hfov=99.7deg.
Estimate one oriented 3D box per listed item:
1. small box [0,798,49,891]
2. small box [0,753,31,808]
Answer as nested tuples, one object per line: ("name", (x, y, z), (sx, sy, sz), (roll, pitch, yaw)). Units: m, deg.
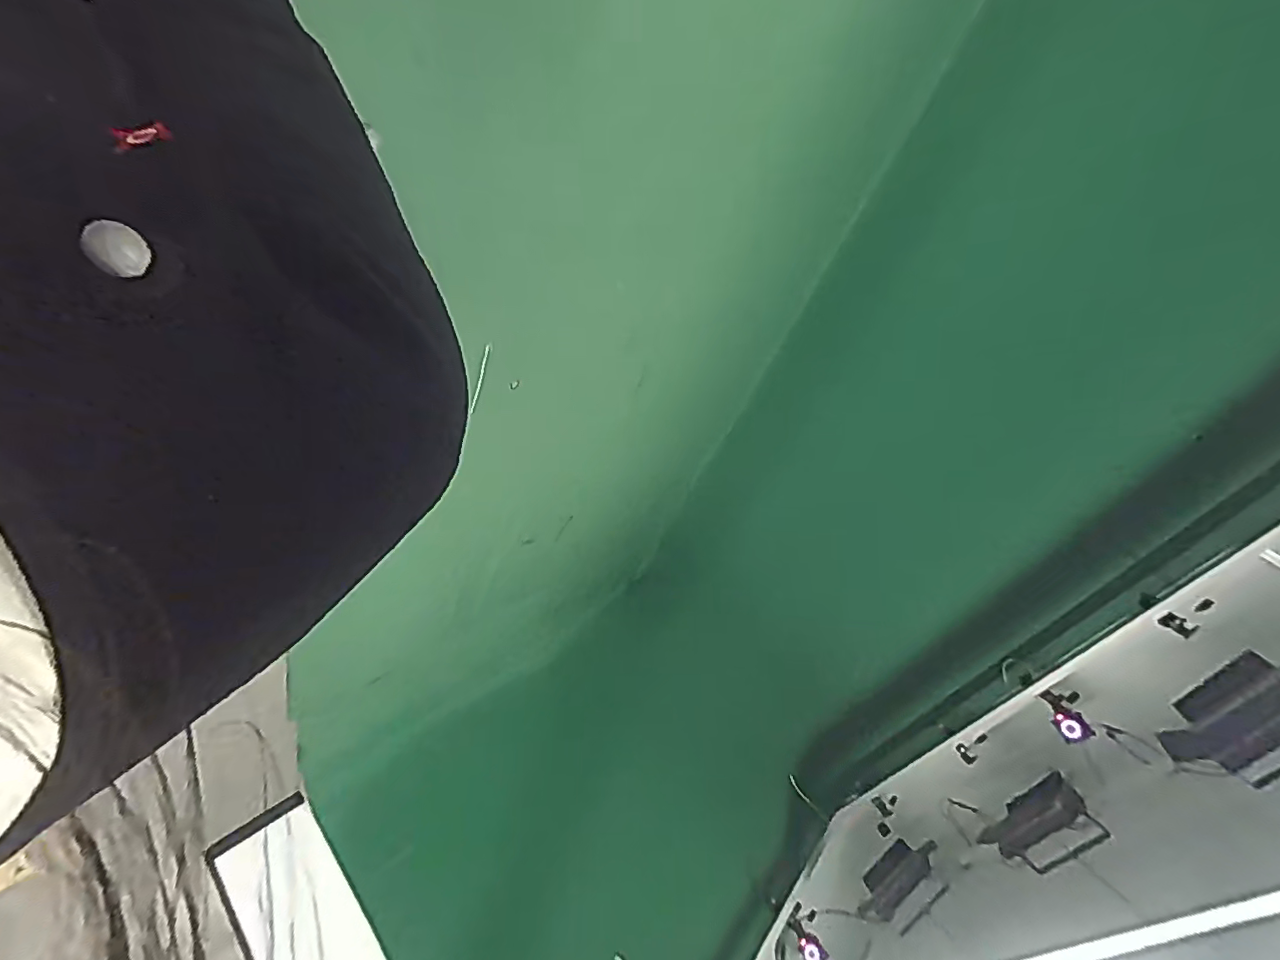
("small box", (-1.869, 1.073, 1.563), (0.179, 0.176, 0.168), (-19, 145, -49))
("small box", (-1.981, 0.969, 1.621), (0.179, 0.176, 0.168), (-22, 147, -45))
